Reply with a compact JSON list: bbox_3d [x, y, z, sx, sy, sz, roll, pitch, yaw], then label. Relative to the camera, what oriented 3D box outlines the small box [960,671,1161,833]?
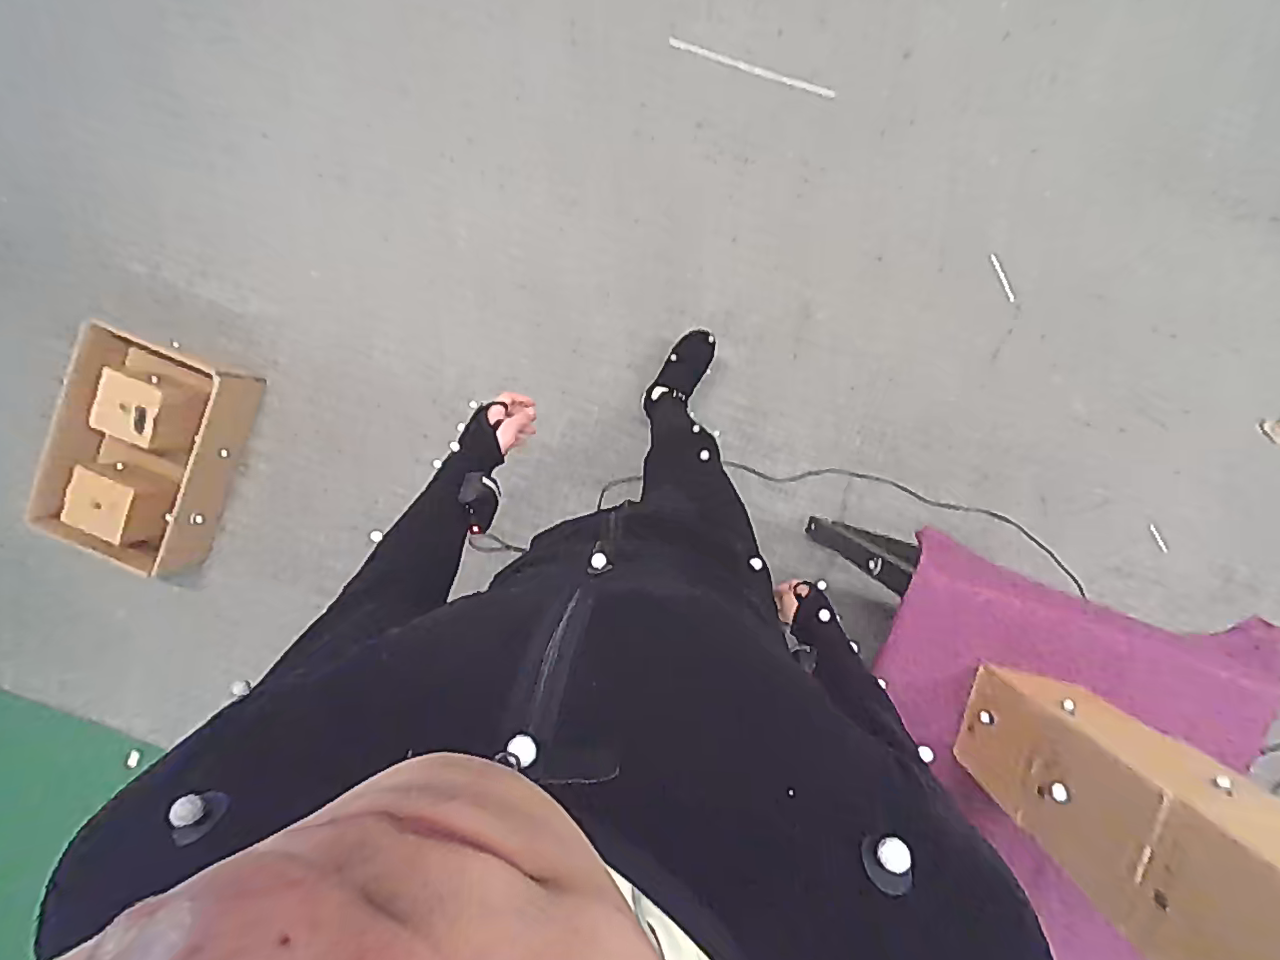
[{"bbox_3d":[0.621,0.406,0.799,0.179,0.176,0.168,13,96,2],"label":"small box"}]

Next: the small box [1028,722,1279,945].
[{"bbox_3d":[0.615,0.414,0.635,0.179,0.176,0.168,12,95,2],"label":"small box"}]

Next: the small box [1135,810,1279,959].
[{"bbox_3d":[0.610,0.429,0.471,0.179,0.176,0.168,15,95,1],"label":"small box"}]
